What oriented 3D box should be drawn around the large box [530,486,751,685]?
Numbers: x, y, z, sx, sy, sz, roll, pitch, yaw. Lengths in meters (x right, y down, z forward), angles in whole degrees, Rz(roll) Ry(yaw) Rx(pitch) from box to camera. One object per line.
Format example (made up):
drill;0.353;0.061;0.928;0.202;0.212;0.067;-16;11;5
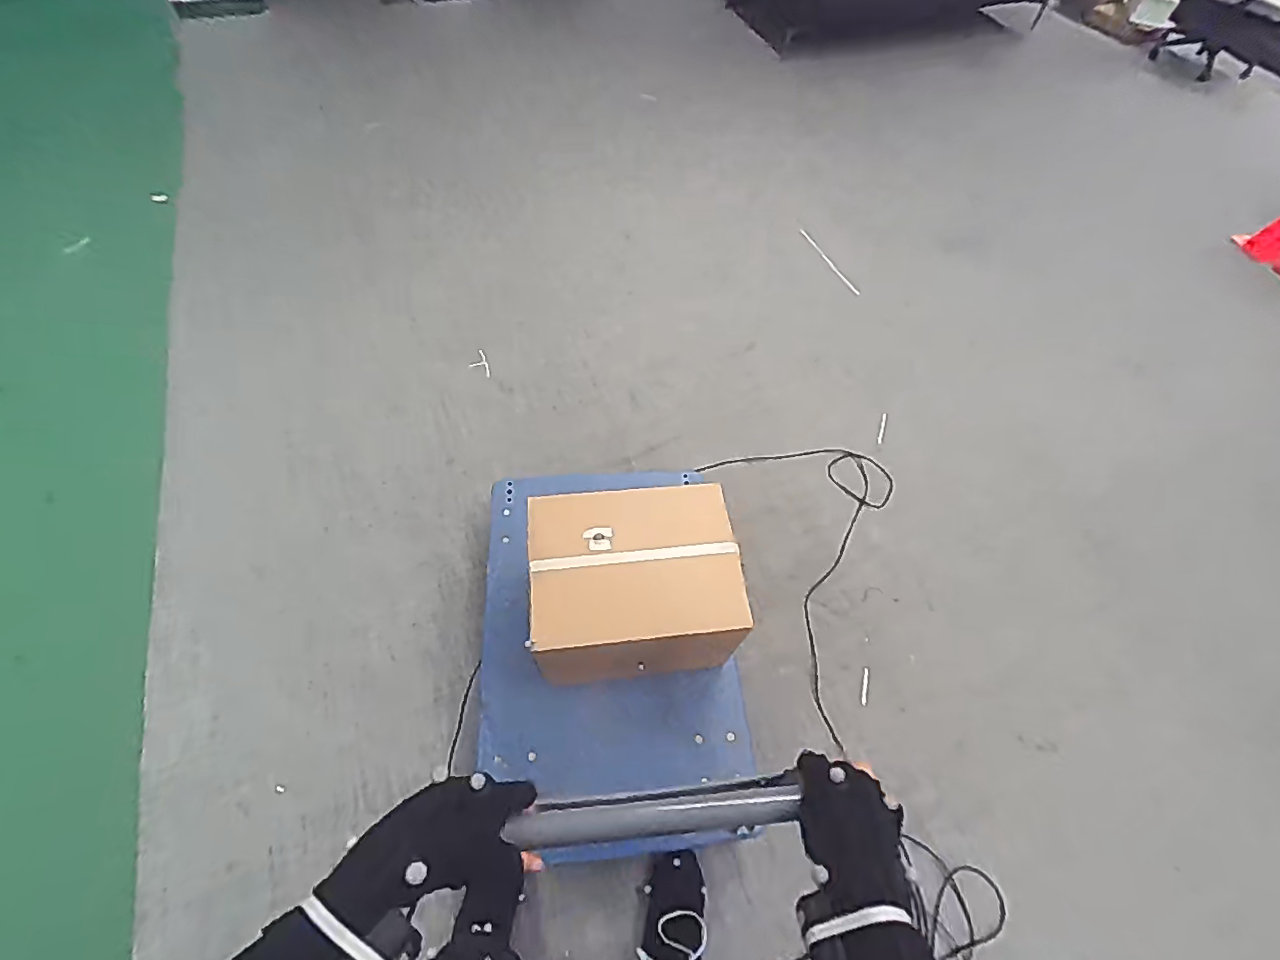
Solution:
large box;-0.013;0.239;1.181;0.408;0.320;0.320;-5;58;-5
